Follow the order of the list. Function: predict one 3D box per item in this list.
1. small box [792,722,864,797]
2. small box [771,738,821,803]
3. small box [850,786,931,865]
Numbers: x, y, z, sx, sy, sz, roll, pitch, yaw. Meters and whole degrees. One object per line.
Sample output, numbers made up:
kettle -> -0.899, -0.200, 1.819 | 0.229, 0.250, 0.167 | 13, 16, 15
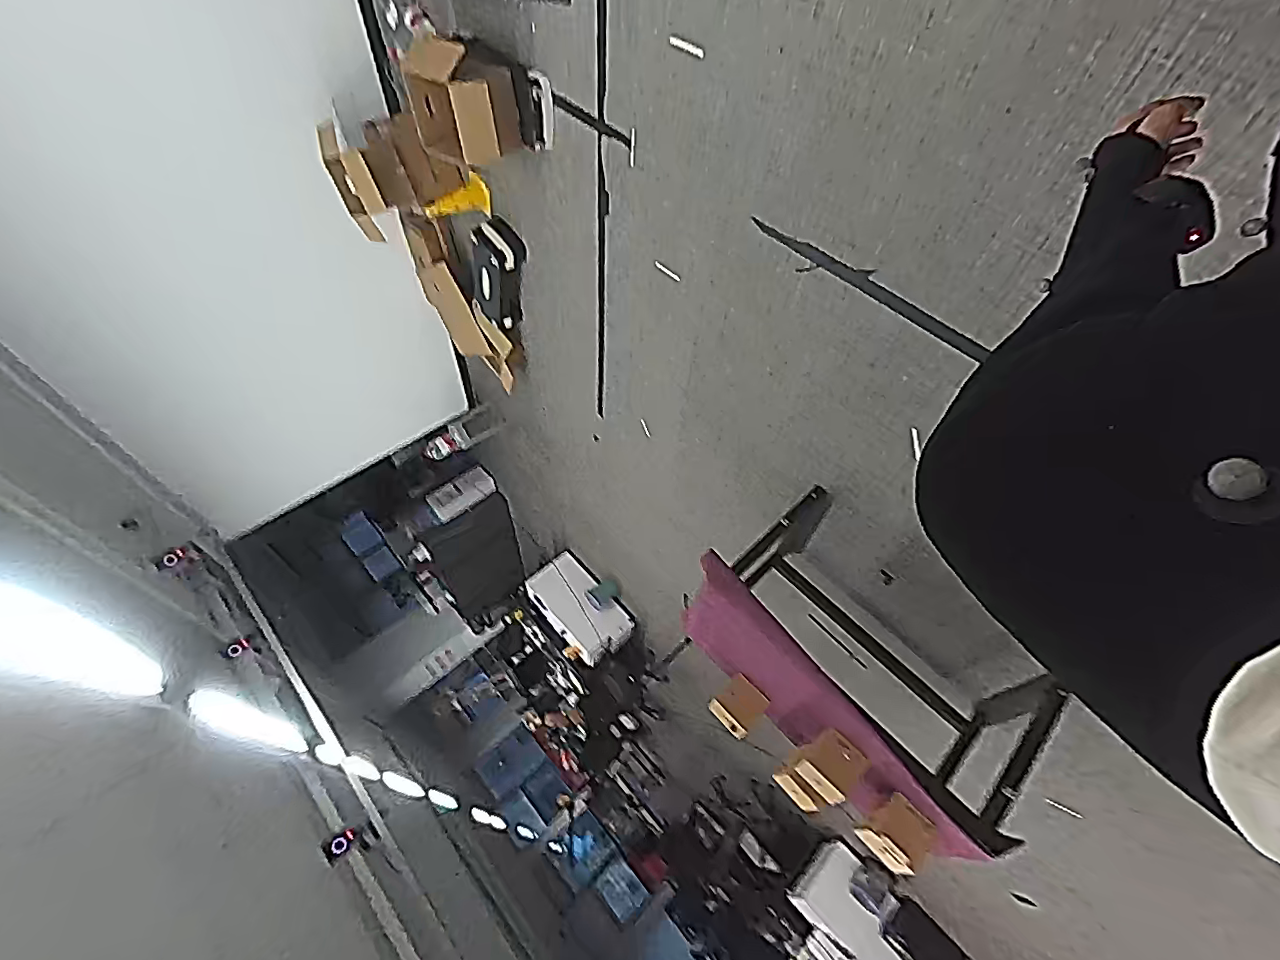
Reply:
small box -> 0.691, 1.024, 1.984 | 0.168, 0.176, 0.179 | 40, 152, 25
small box -> 0.673, 1.189, 2.213 | 0.168, 0.176, 0.179 | 45, 153, 20
small box -> 0.876, 1.199, 1.883 | 0.168, 0.176, 0.179 | 42, 154, 23
